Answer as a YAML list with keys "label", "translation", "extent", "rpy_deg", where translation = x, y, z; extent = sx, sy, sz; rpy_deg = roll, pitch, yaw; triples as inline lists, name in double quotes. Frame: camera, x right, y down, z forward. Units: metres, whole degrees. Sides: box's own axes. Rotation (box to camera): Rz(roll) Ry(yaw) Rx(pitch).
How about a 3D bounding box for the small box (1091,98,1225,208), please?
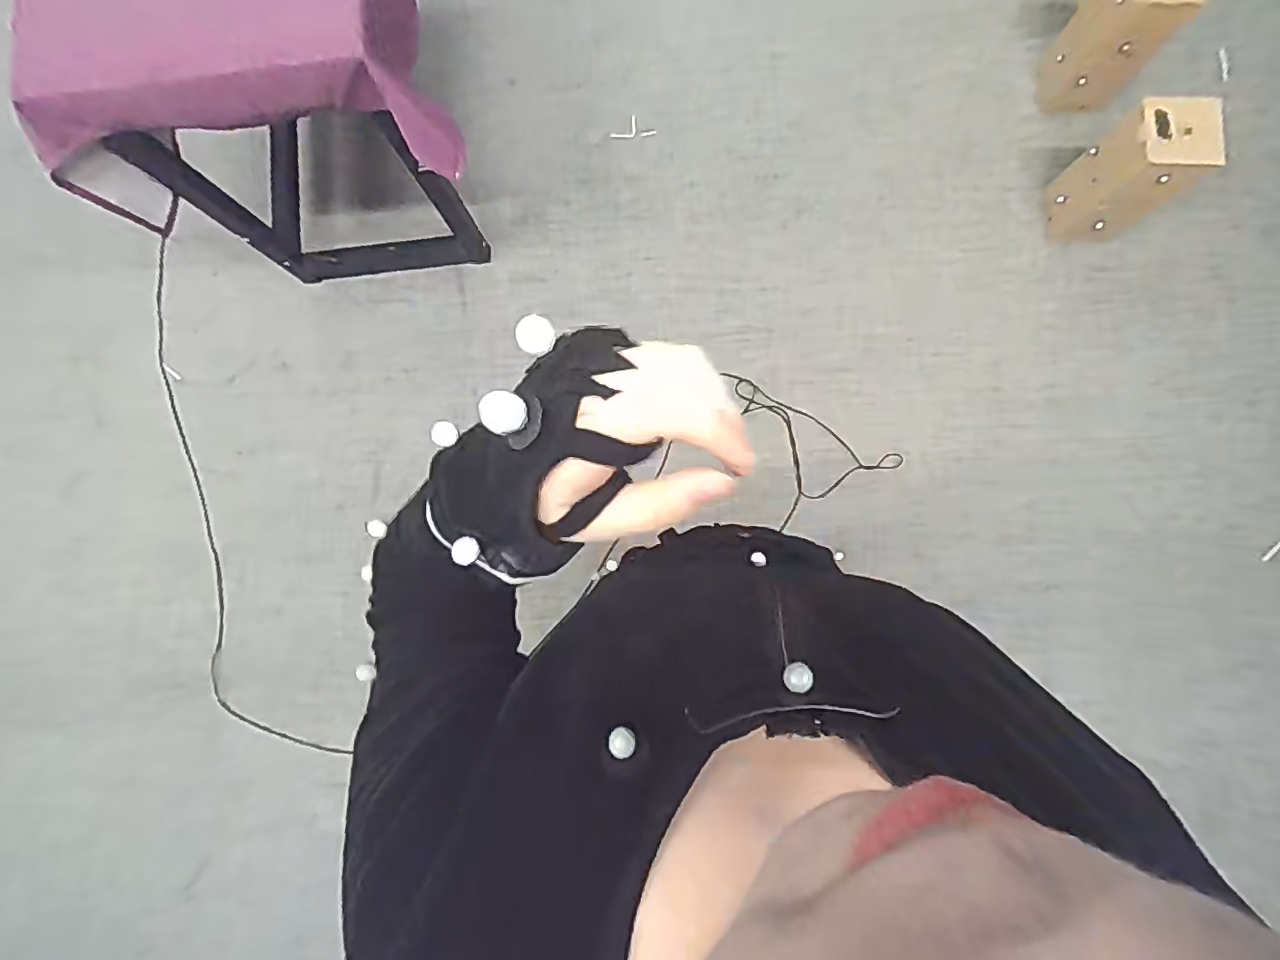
- label: "small box"
  translation: [1.242, -0.786, 1.312]
  extent: [0.179, 0.176, 0.168]
  rpy_deg: [2, 85, 2]

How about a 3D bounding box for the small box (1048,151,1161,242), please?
- label: "small box"
  translation: [1.254, -0.769, 1.476]
  extent: [0.179, 0.176, 0.168]
  rpy_deg: [1, 85, 3]

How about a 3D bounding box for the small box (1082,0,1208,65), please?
- label: "small box"
  translation: [1.250, -1.189, 1.351]
  extent: [0.168, 0.176, 0.179]
  rpy_deg: [2, 85, 2]
